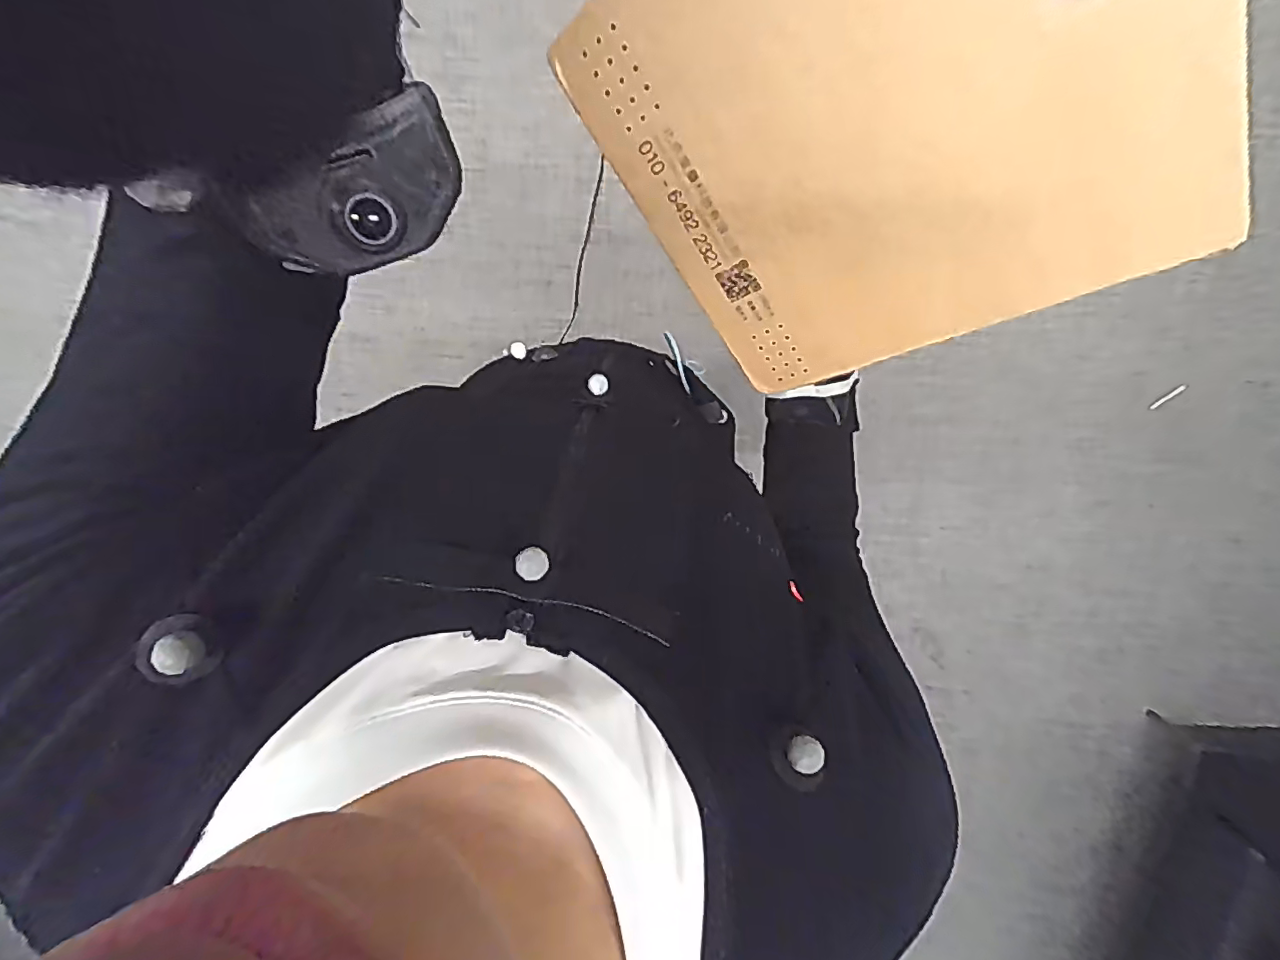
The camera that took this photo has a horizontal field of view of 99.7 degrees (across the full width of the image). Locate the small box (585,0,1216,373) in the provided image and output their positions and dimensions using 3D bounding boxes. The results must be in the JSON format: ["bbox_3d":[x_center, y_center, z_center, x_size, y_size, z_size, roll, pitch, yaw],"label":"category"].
[{"bbox_3d":[0.103,-0.179,0.237,0.176,0.179,0.168,-15,129,38],"label":"small box"}]
